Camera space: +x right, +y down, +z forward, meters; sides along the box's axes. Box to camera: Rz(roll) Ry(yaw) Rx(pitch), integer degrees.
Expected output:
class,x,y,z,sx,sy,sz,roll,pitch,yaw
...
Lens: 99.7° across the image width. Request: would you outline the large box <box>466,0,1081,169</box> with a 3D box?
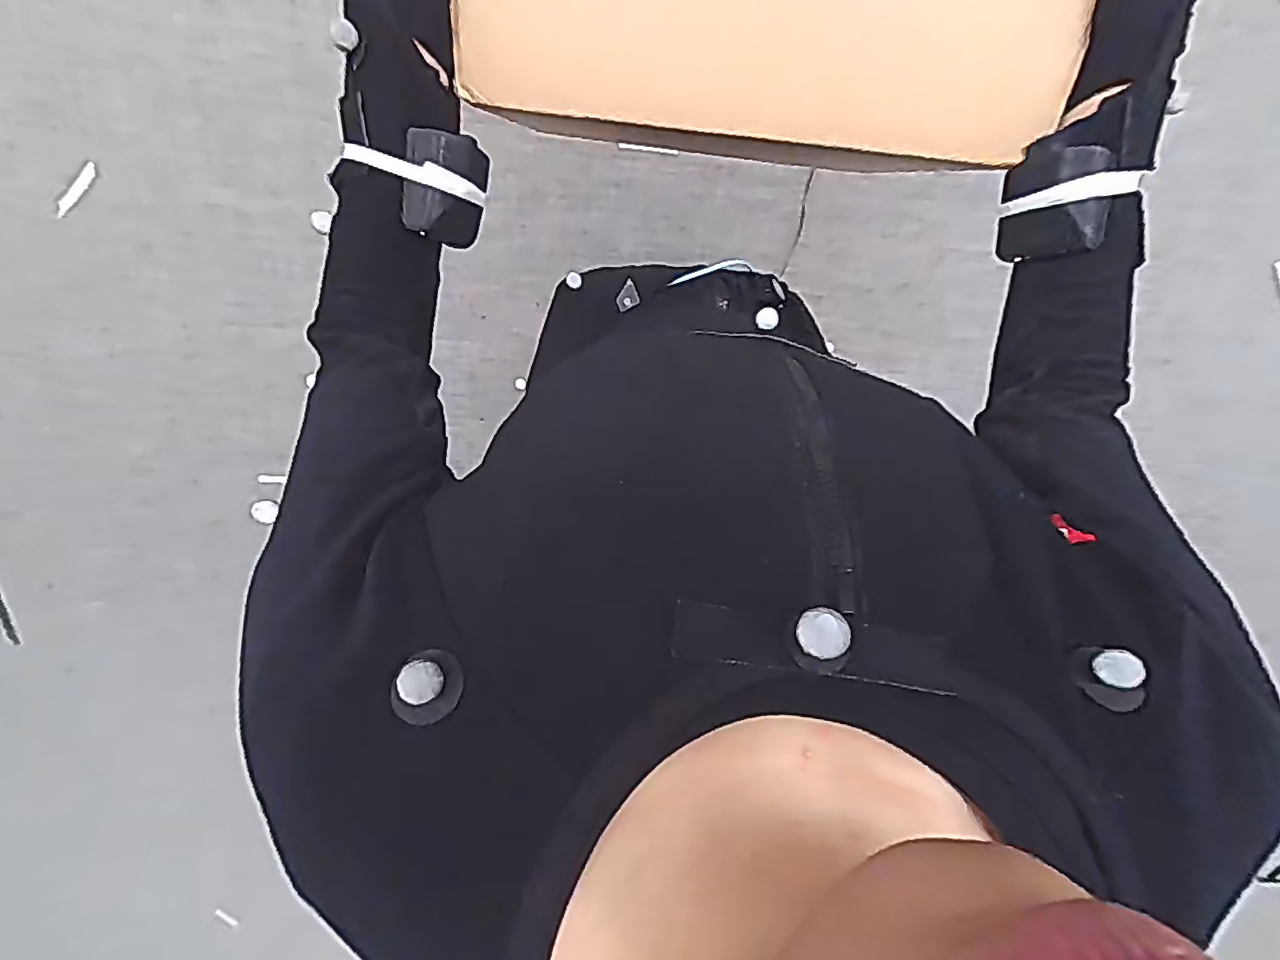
class,x,y,z,sx,sy,sz,roll,pitch,yaw
large box,0.091,-0.449,0.439,0.408,0.320,0.320,5,121,-4
